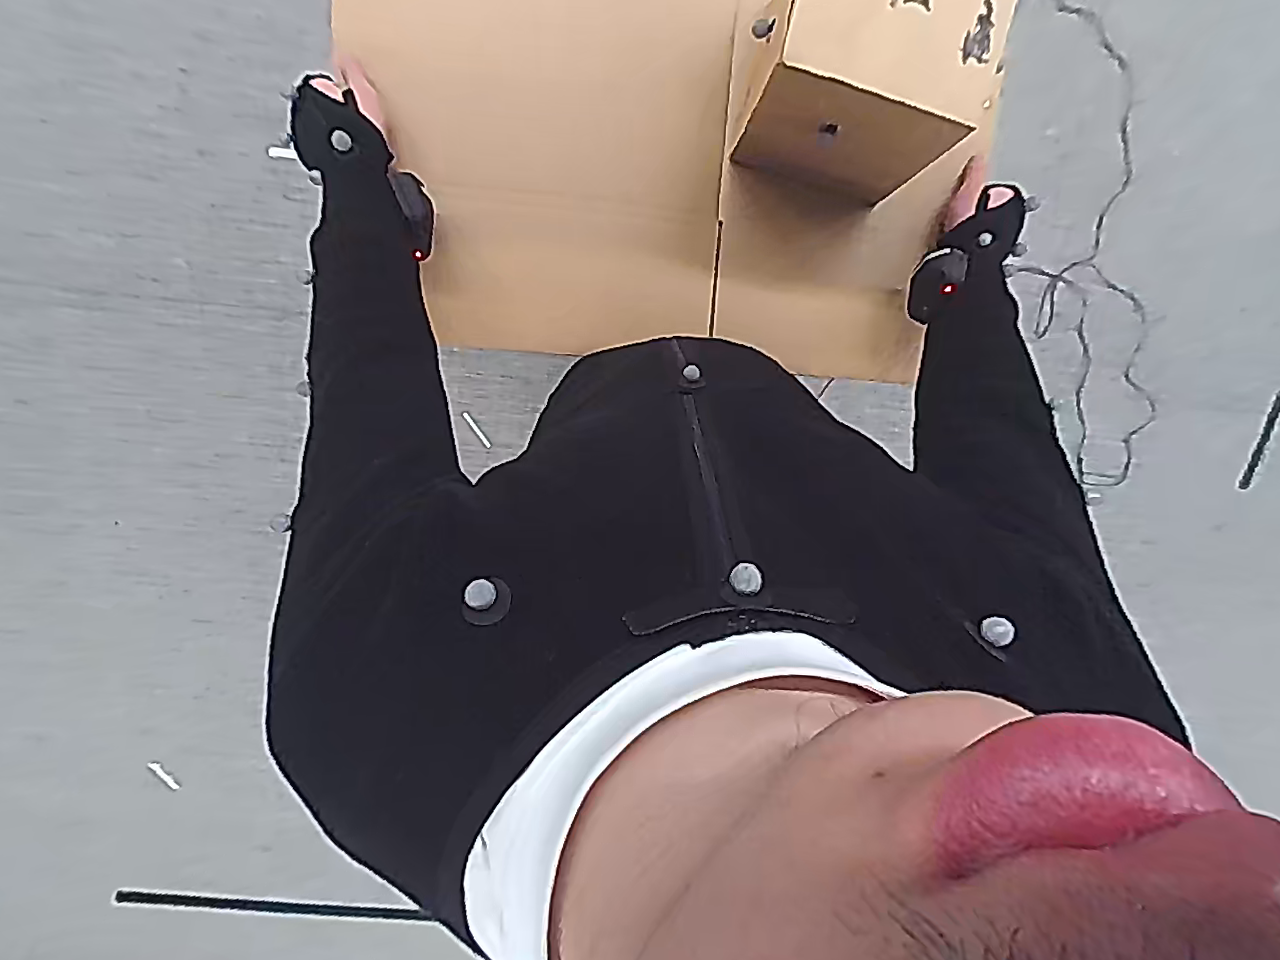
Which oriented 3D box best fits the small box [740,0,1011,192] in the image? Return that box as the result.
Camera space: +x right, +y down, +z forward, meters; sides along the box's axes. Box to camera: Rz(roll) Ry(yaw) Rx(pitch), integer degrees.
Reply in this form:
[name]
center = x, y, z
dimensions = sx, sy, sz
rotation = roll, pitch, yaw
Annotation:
[small box]
center = 0.208, -0.402, 0.510
dimensions = 0.179, 0.176, 0.168
rotation = 14, 97, -4
